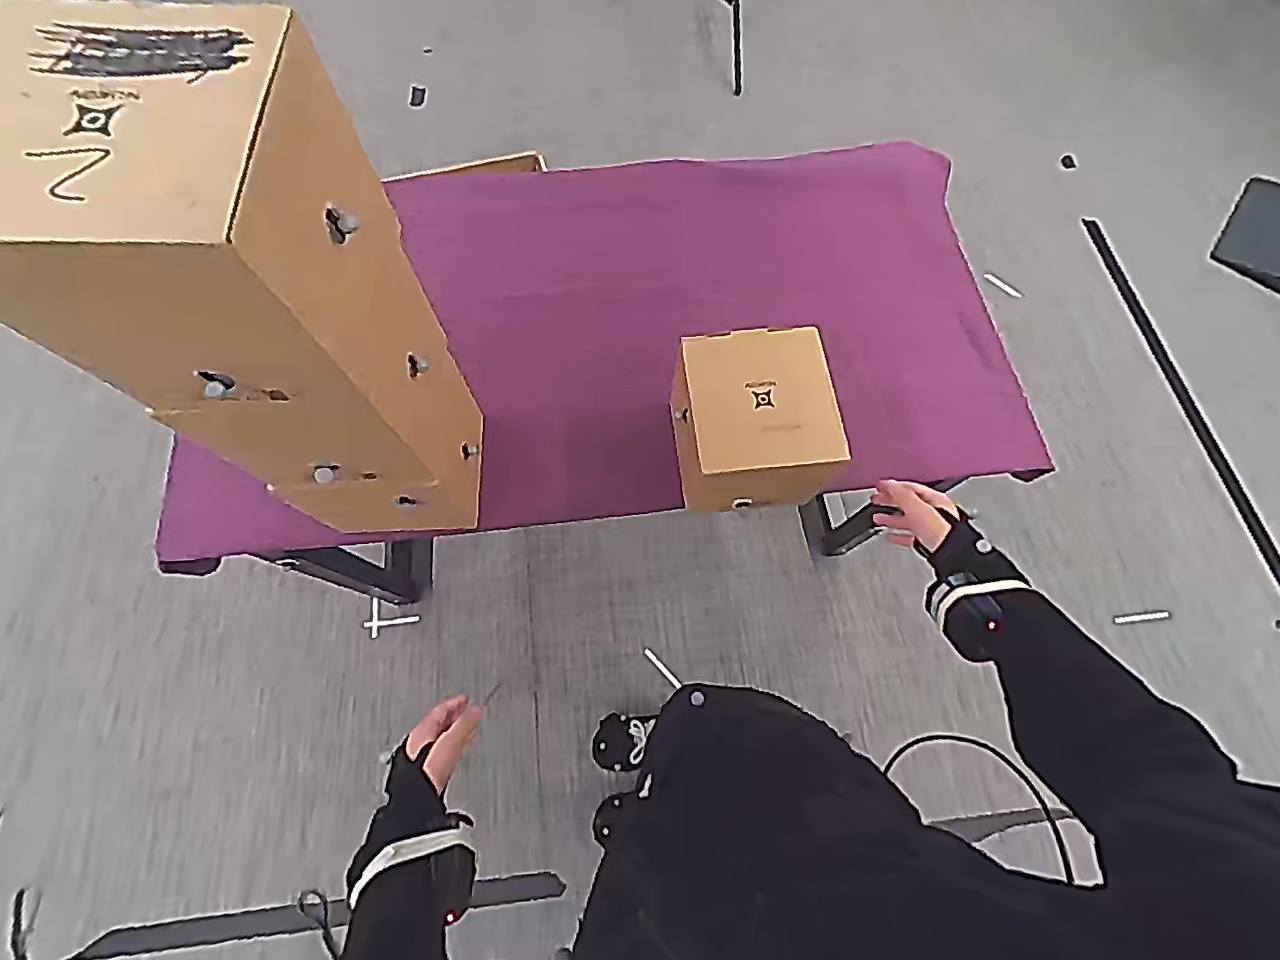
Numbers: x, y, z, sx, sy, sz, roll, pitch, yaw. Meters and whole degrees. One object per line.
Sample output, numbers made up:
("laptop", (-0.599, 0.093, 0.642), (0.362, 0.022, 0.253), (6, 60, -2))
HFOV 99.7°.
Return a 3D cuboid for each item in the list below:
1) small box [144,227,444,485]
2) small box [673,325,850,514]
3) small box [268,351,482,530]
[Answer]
("small box", (-0.292, -0.106, 0.505), (0.168, 0.176, 0.179), (-3, 71, -3))
("small box", (0.136, -0.069, 0.681), (0.168, 0.176, 0.179), (-6, 71, -3))
("small box", (-0.299, -0.040, 0.656), (0.179, 0.176, 0.168), (-2, 69, -2))
